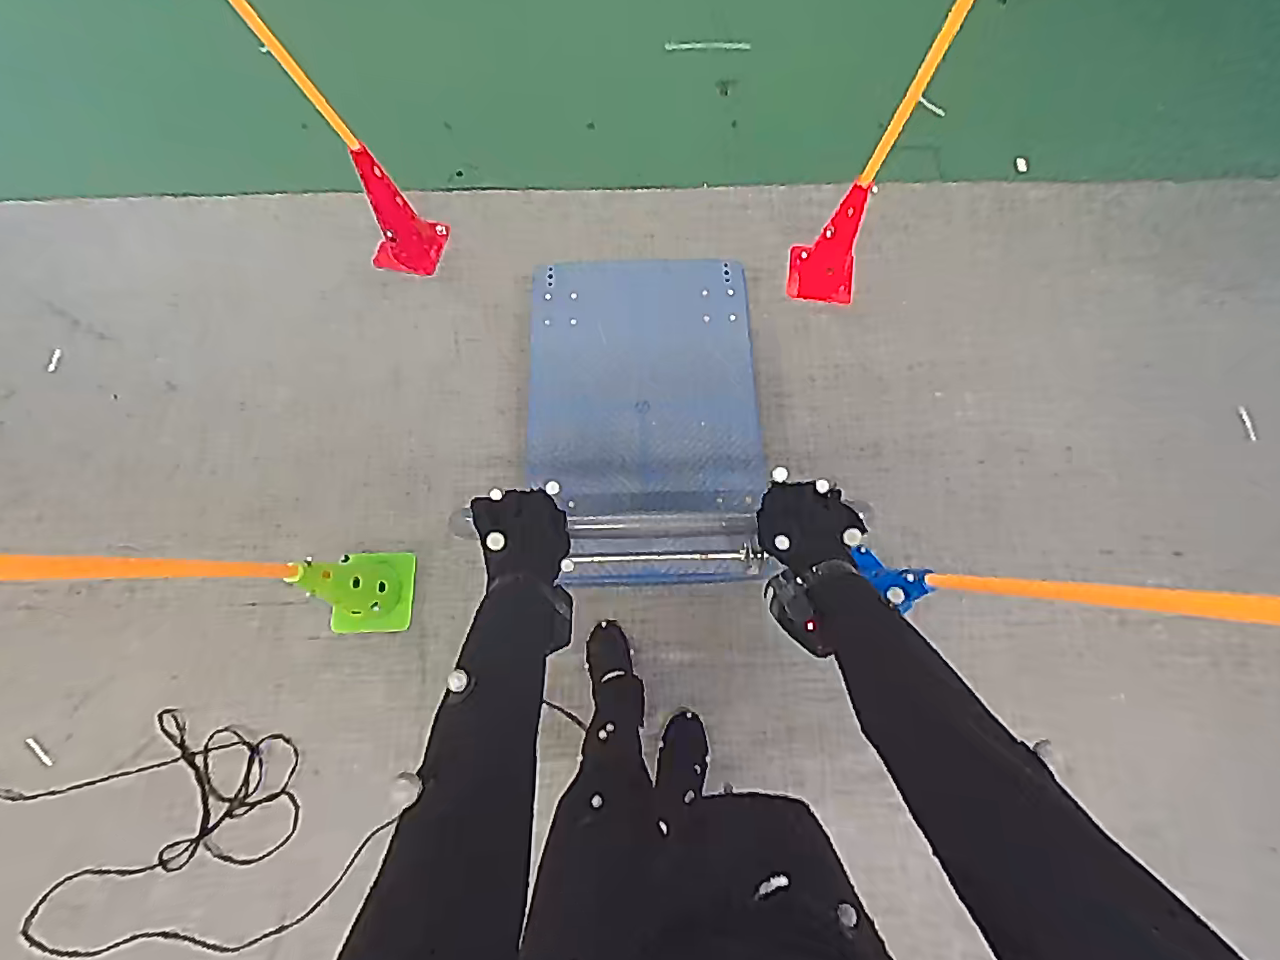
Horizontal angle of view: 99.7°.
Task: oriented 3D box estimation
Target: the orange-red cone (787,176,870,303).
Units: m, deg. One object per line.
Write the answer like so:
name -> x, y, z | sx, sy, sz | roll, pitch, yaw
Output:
orange-red cone -> 0.561, -0.692, 1.518 | 0.198, 0.360, 0.199 | 10, 73, 4
